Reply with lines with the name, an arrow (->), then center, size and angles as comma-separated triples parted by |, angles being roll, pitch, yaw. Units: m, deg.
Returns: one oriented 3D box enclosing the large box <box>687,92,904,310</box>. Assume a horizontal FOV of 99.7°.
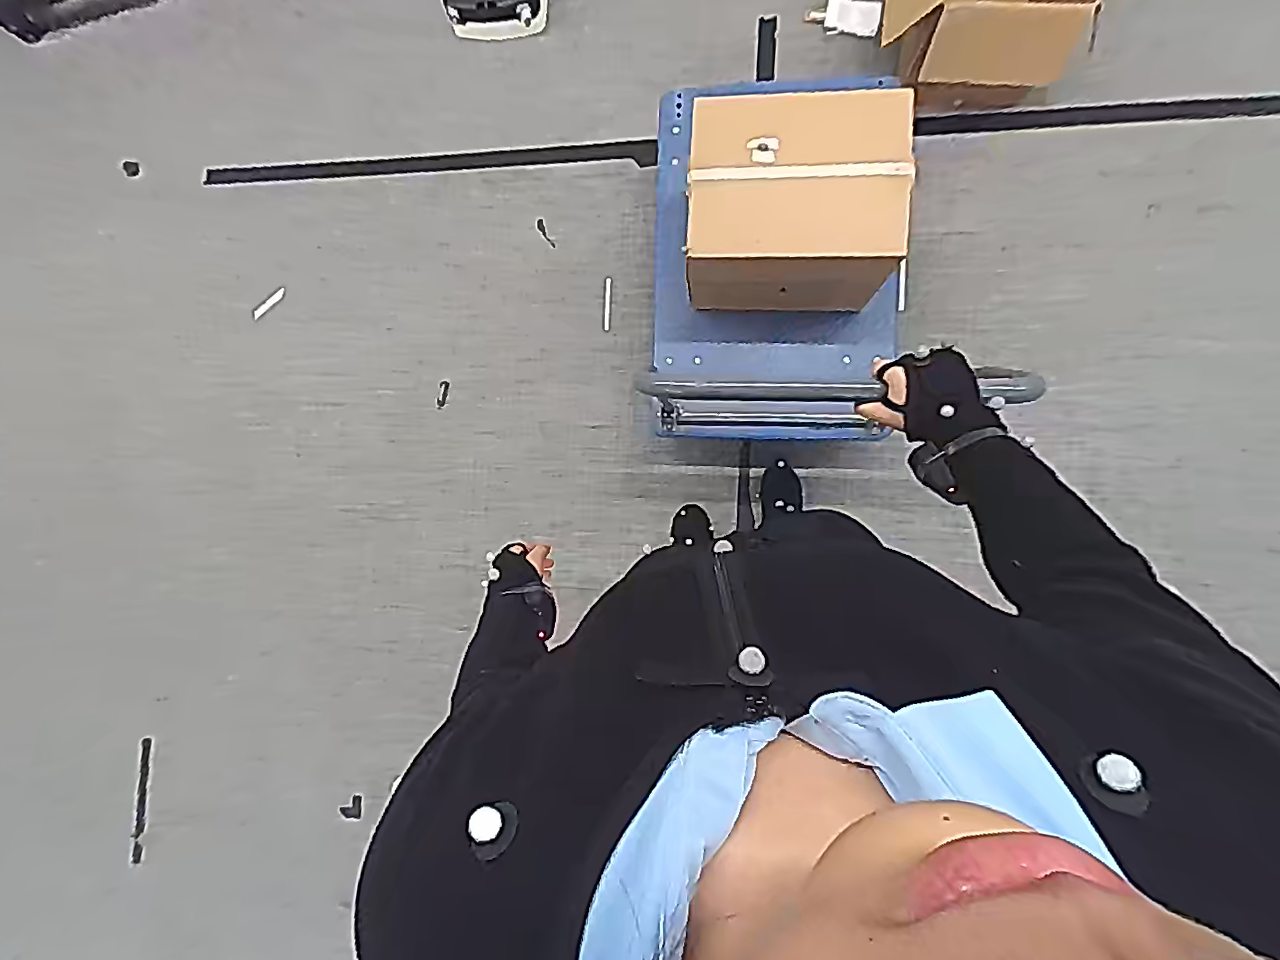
large box -> 0.316, -0.573, 1.179 | 0.408, 0.320, 0.320 | 2, 88, 9
